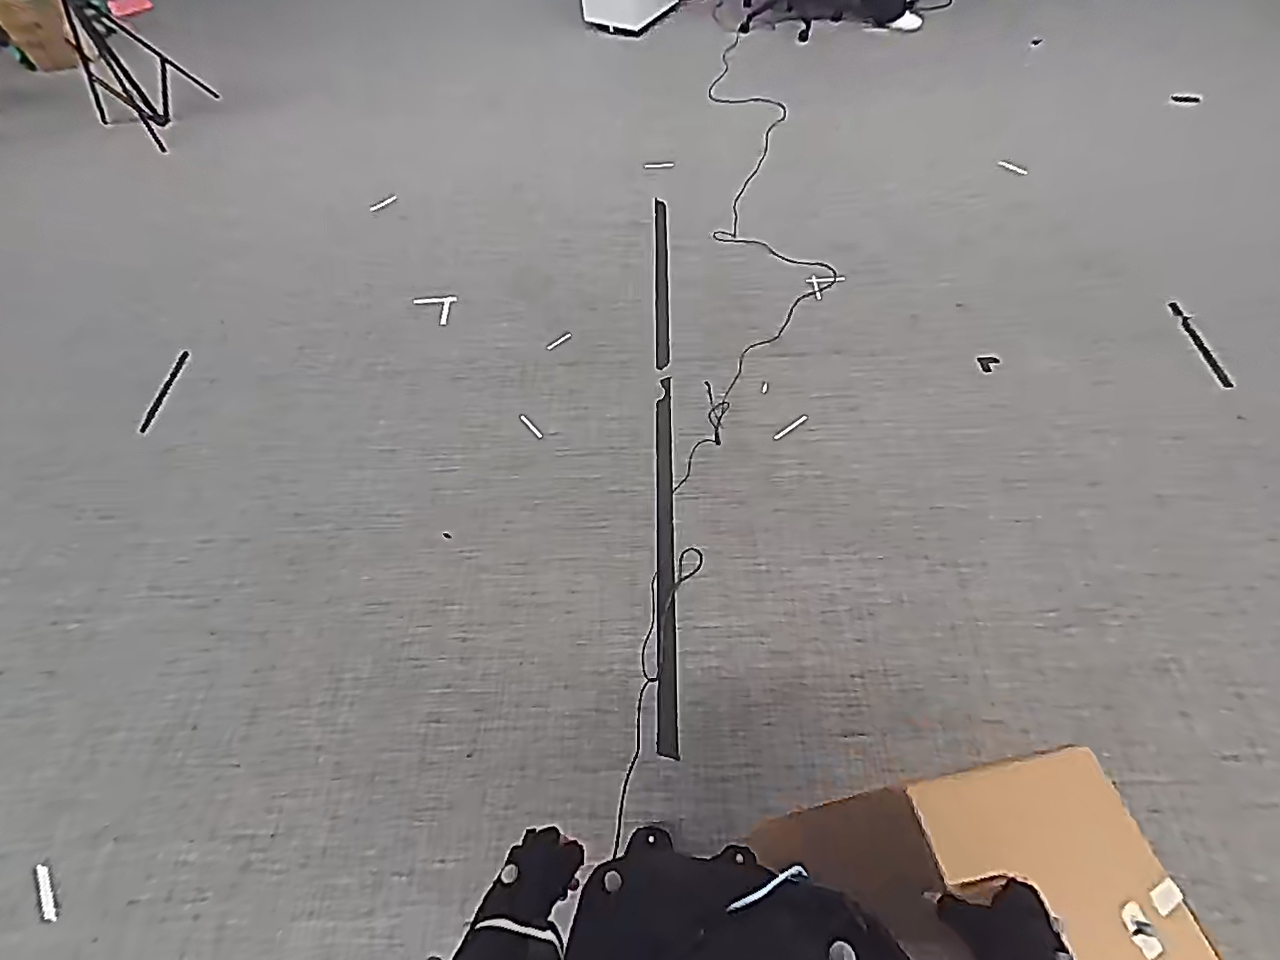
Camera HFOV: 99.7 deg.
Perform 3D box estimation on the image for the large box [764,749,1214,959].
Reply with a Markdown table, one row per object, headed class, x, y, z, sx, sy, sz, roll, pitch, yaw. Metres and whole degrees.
| class | x | y | z | sx | sy | sz | roll | pitch | yaw |
| --- | --- | --- | --- | --- | --- | --- | --- | --- | --- |
| large box | 0.429 | 0.593 | 0.732 | 0.320 | 0.408 | 0.320 | 1 | 53 | -17 |
